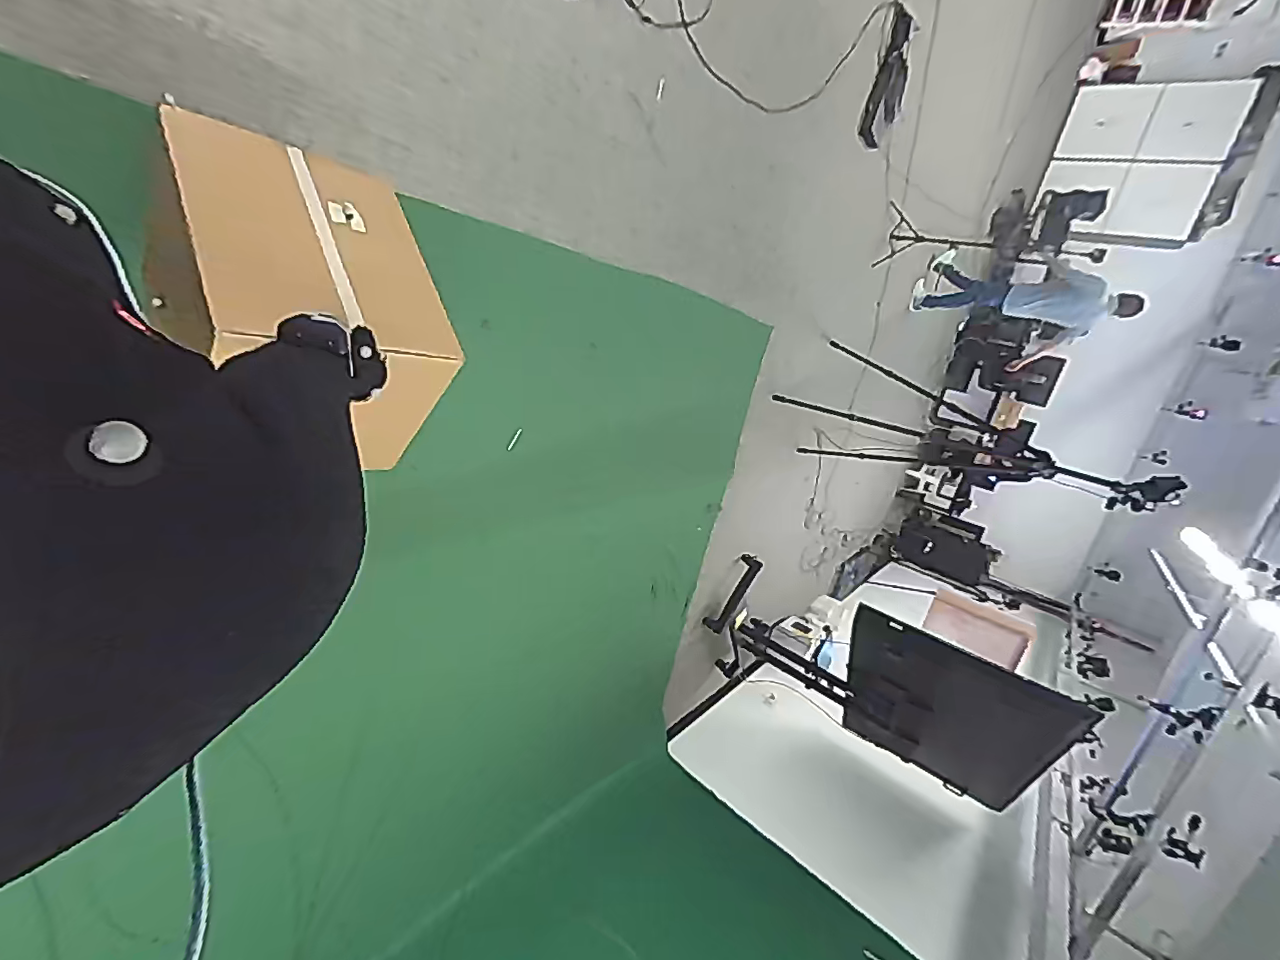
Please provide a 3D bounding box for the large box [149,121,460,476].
[{"bbox_3d":[-0.558,-0.259,0.882,0.320,0.408,0.320,-5,152,-50],"label":"large box"}]
